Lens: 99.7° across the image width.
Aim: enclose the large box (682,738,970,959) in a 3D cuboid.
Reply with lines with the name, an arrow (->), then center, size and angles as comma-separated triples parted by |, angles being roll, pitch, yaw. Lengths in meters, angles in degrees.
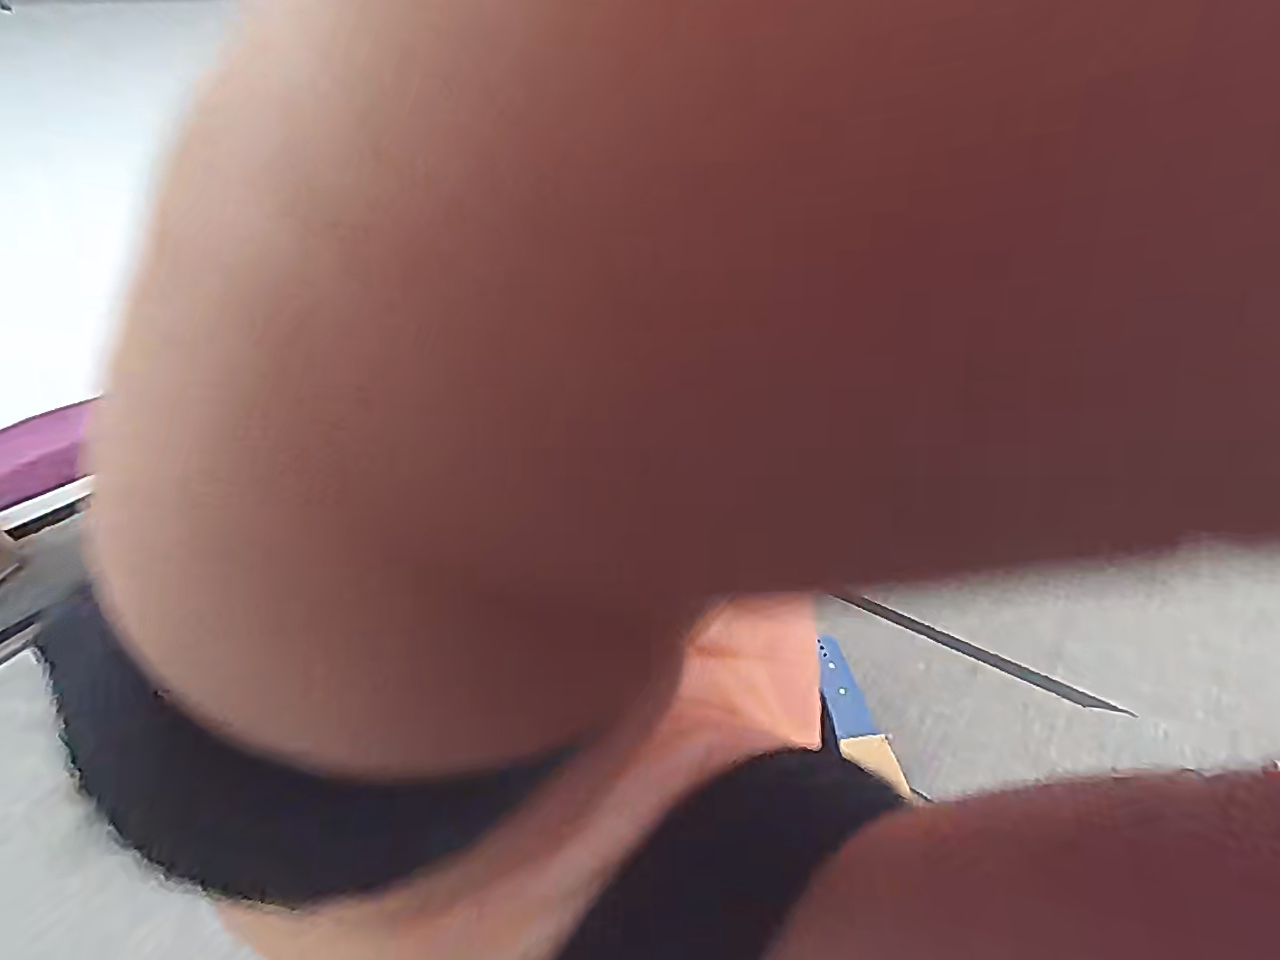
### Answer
large box -> 0.309, 0.741, 1.015 | 0.408, 0.320, 0.320 | -9, 35, 1
